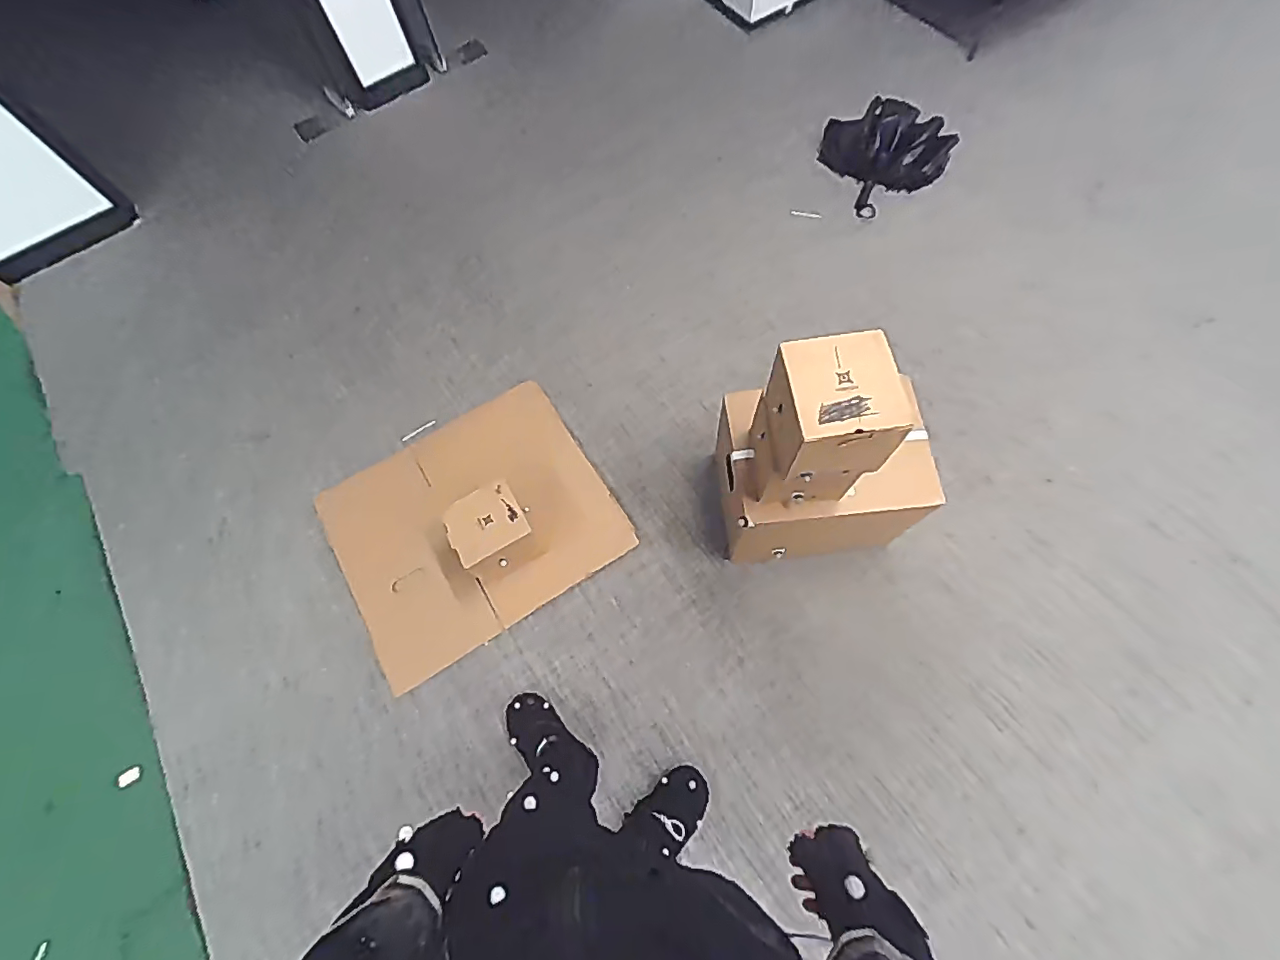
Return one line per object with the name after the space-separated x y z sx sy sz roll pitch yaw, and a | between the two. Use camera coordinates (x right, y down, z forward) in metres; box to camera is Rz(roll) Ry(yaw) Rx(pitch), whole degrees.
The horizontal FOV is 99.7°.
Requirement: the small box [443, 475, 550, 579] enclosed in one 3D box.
-0.348 0.123 1.341 0.179 0.176 0.168 -33 67 -7 | small box

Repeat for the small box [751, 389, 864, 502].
0.314 -0.068 1.055 0.168 0.176 0.179 -3 70 3 | small box

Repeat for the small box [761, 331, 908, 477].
0.308 -0.114 0.897 0.168 0.176 0.179 -10 69 1 | small box
